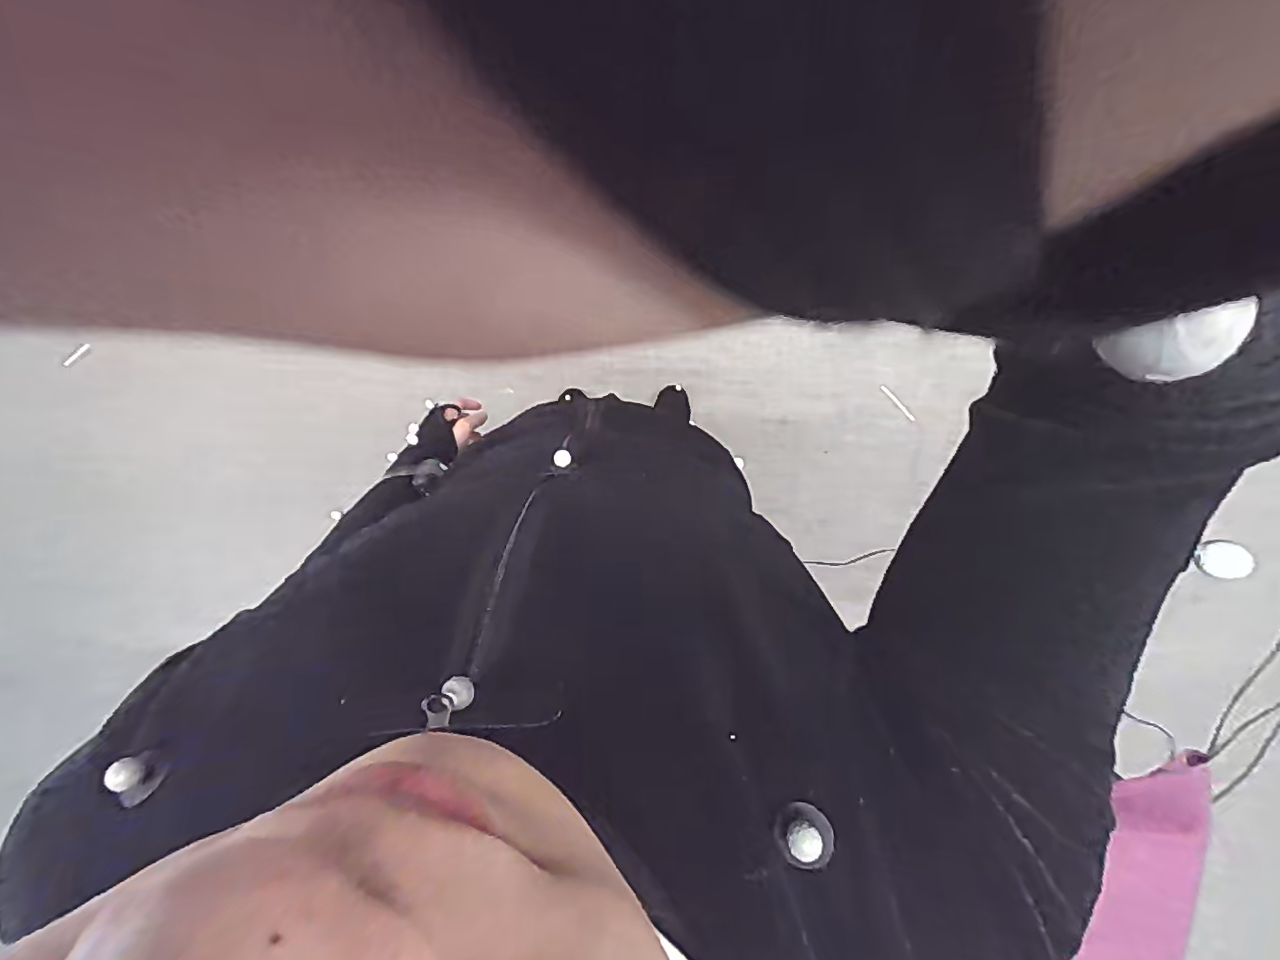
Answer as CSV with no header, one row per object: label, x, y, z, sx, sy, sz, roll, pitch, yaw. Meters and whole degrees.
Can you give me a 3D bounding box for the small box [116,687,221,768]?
small box,-1.438,0.756,1.666,0.179,0.176,0.168,-3,99,1
